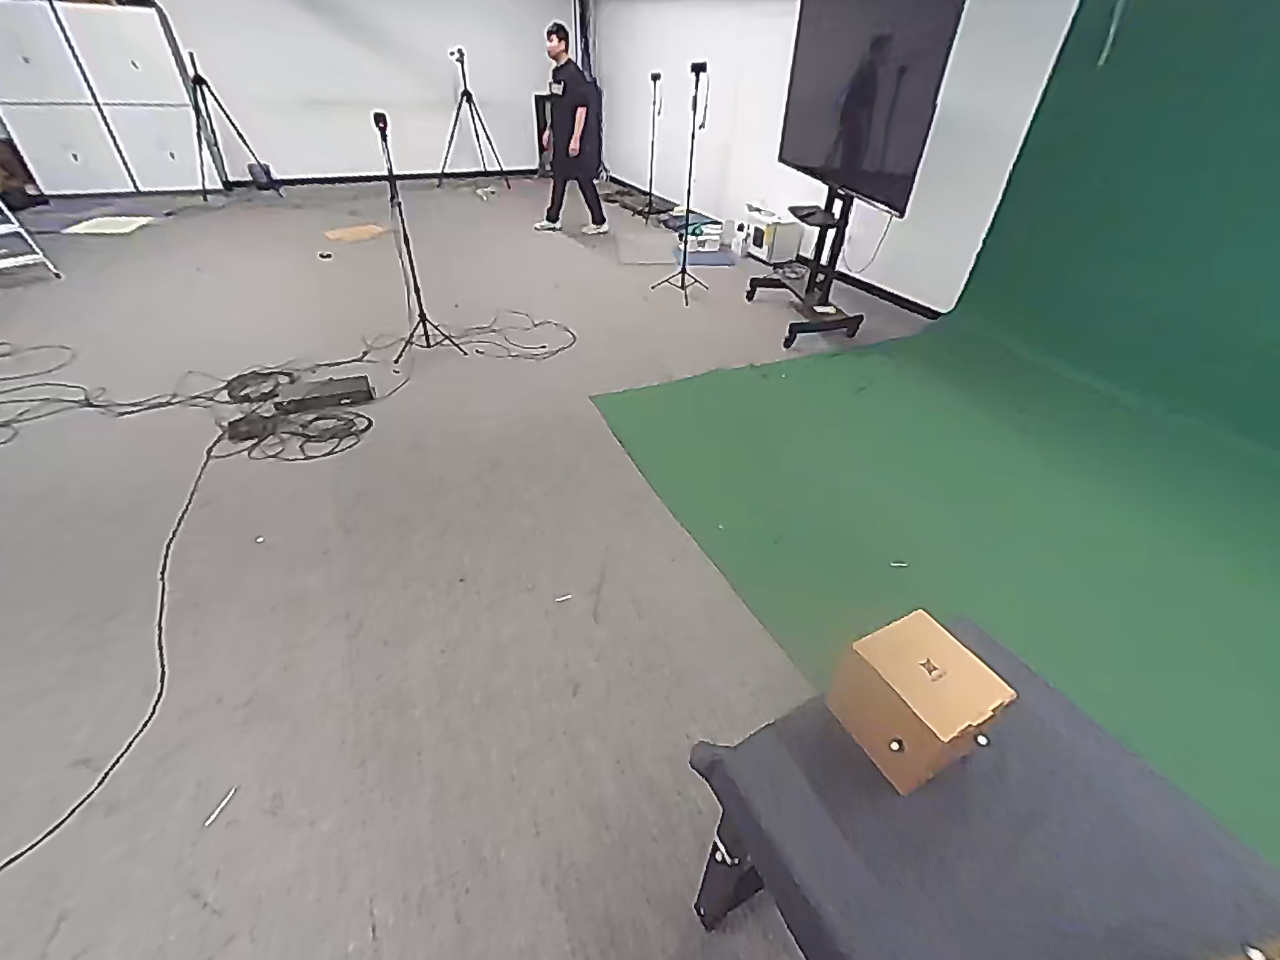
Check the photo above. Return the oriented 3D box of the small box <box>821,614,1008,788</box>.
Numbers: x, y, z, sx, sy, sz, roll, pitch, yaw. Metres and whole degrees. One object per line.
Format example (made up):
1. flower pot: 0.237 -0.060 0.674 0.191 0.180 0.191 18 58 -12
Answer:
1. small box: 0.424 0.354 0.863 0.168 0.176 0.179 -15 40 -27
